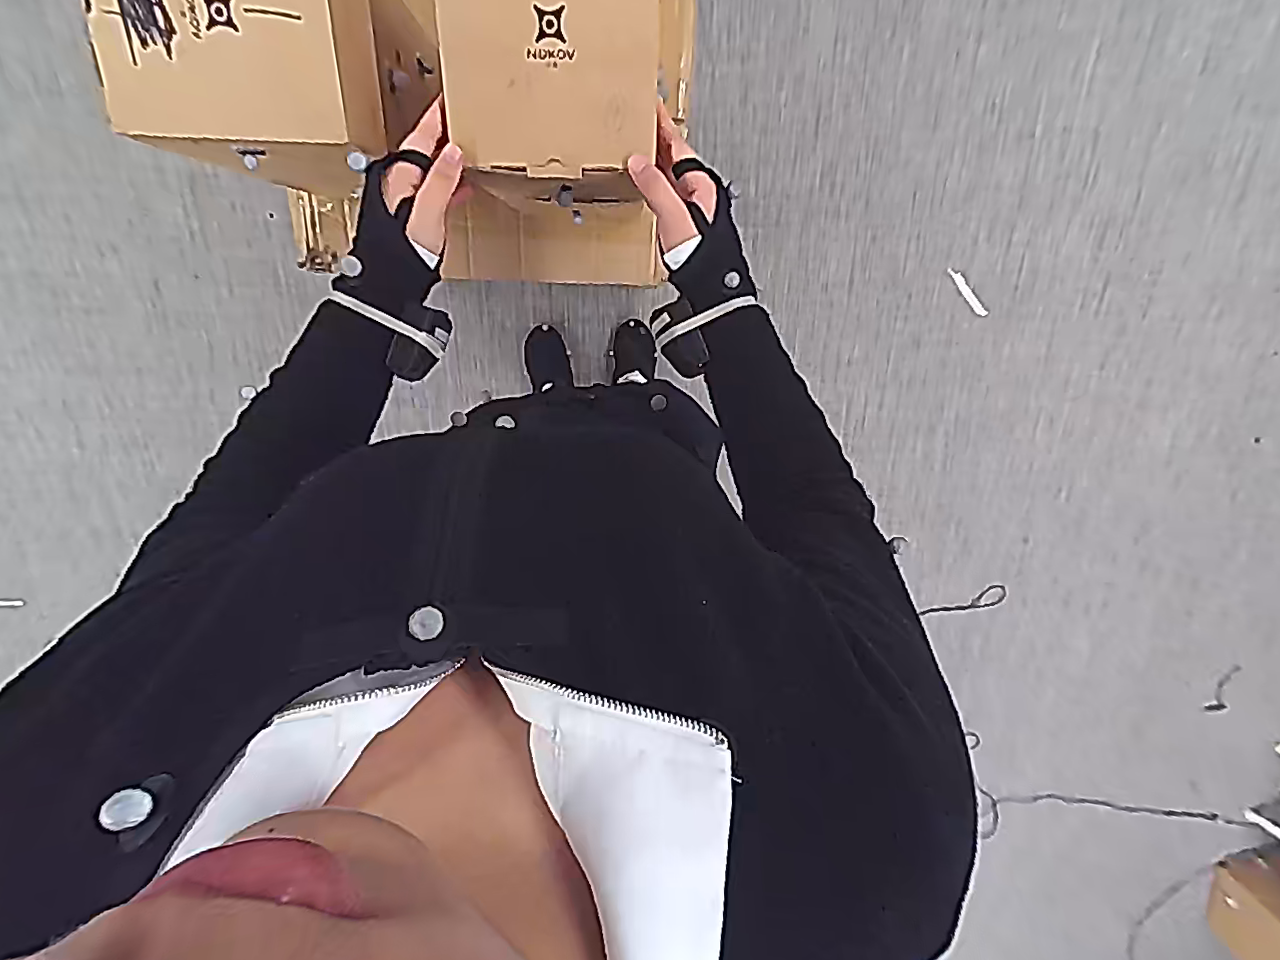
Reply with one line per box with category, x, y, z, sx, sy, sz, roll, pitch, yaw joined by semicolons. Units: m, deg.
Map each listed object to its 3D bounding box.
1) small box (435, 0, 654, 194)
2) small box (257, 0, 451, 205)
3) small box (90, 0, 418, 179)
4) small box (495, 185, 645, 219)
small box;-0.072;-0.362;0.486;0.168;0.176;0.179;0;112;-1
small box;-0.328;-0.429;0.625;0.168;0.176;0.179;1;111;-3
small box;-0.317;-0.371;0.472;0.179;0.176;0.168;0;110;-4
small box;-0.076;-0.418;0.639;0.168;0.176;0.179;1;110;-1
